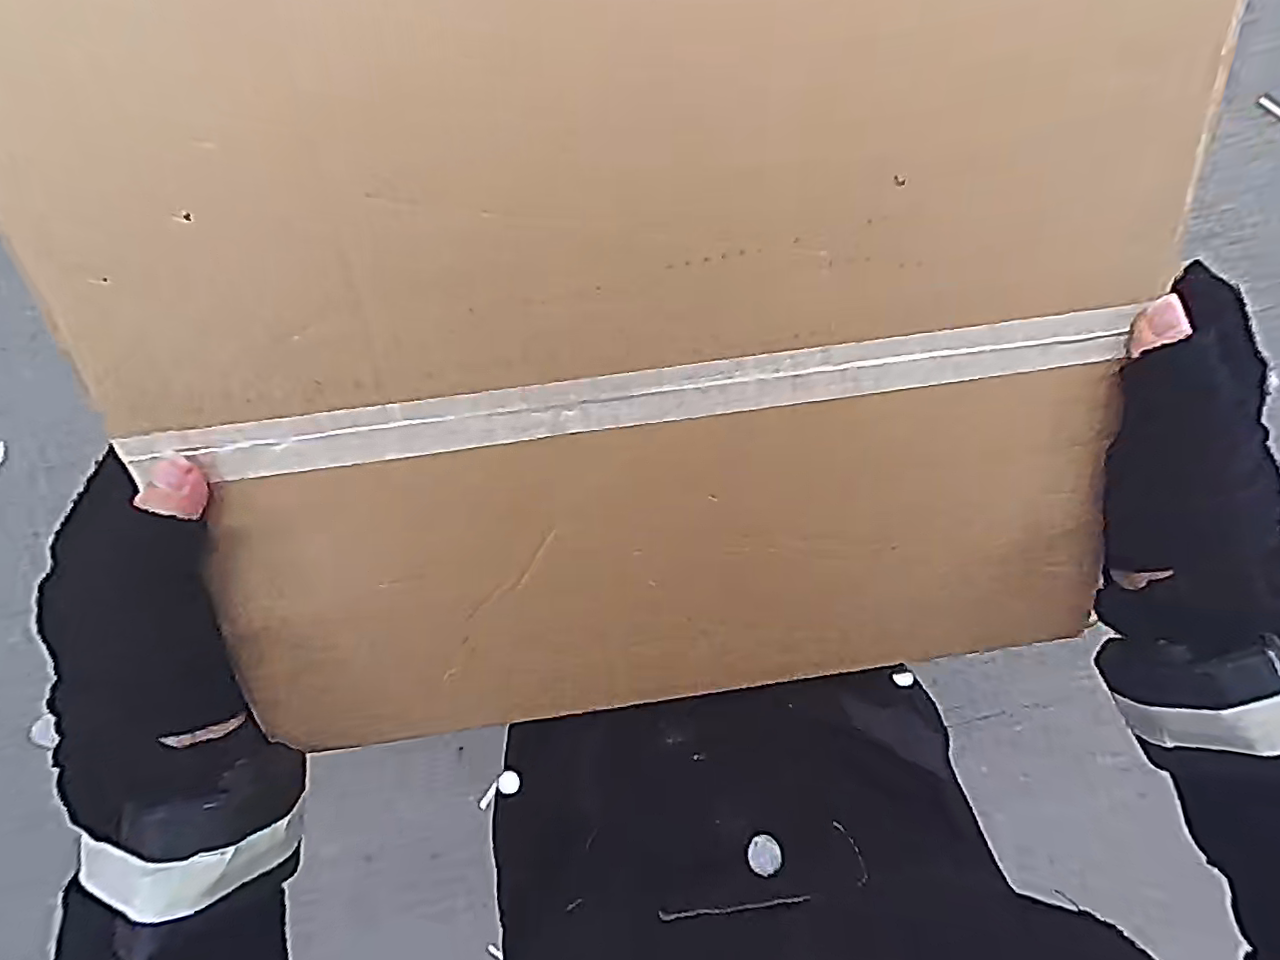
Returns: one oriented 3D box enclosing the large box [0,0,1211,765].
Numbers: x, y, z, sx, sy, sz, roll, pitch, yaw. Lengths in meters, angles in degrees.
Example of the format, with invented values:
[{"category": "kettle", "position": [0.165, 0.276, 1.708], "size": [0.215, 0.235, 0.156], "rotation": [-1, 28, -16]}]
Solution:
[{"category": "large box", "position": [-0.004, -0.081, 0.358], "size": [0.408, 0.320, 0.320], "rotation": [-9, 113, -2]}]
